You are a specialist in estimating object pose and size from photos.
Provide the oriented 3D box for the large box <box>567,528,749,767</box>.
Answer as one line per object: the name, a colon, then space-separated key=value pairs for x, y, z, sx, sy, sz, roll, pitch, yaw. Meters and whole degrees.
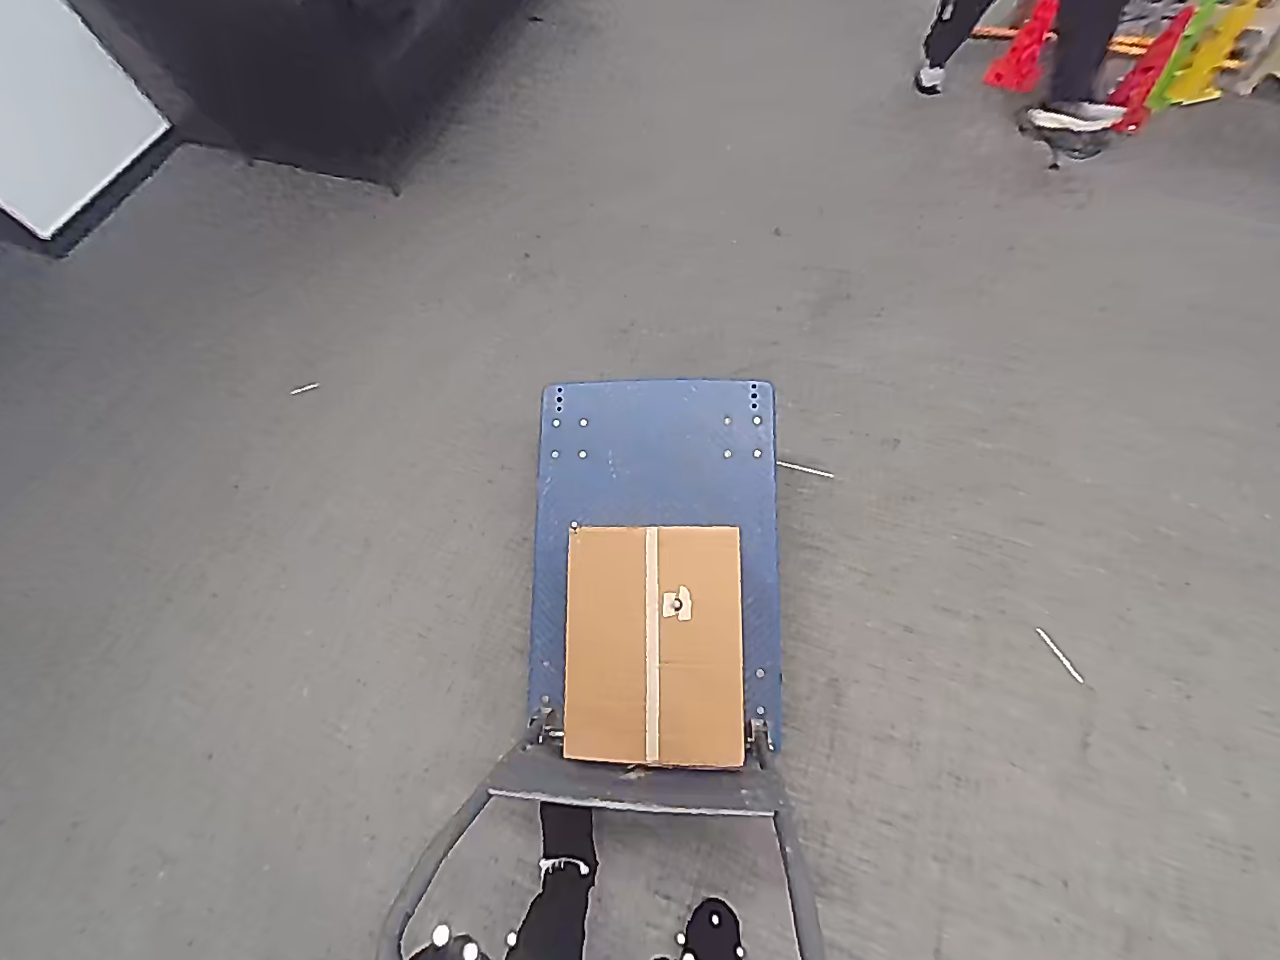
large box: x=0.045 y=0.313 z=1.088 sx=0.320 sy=0.320 sz=0.408 roll=-1 pitch=80 yaw=6
